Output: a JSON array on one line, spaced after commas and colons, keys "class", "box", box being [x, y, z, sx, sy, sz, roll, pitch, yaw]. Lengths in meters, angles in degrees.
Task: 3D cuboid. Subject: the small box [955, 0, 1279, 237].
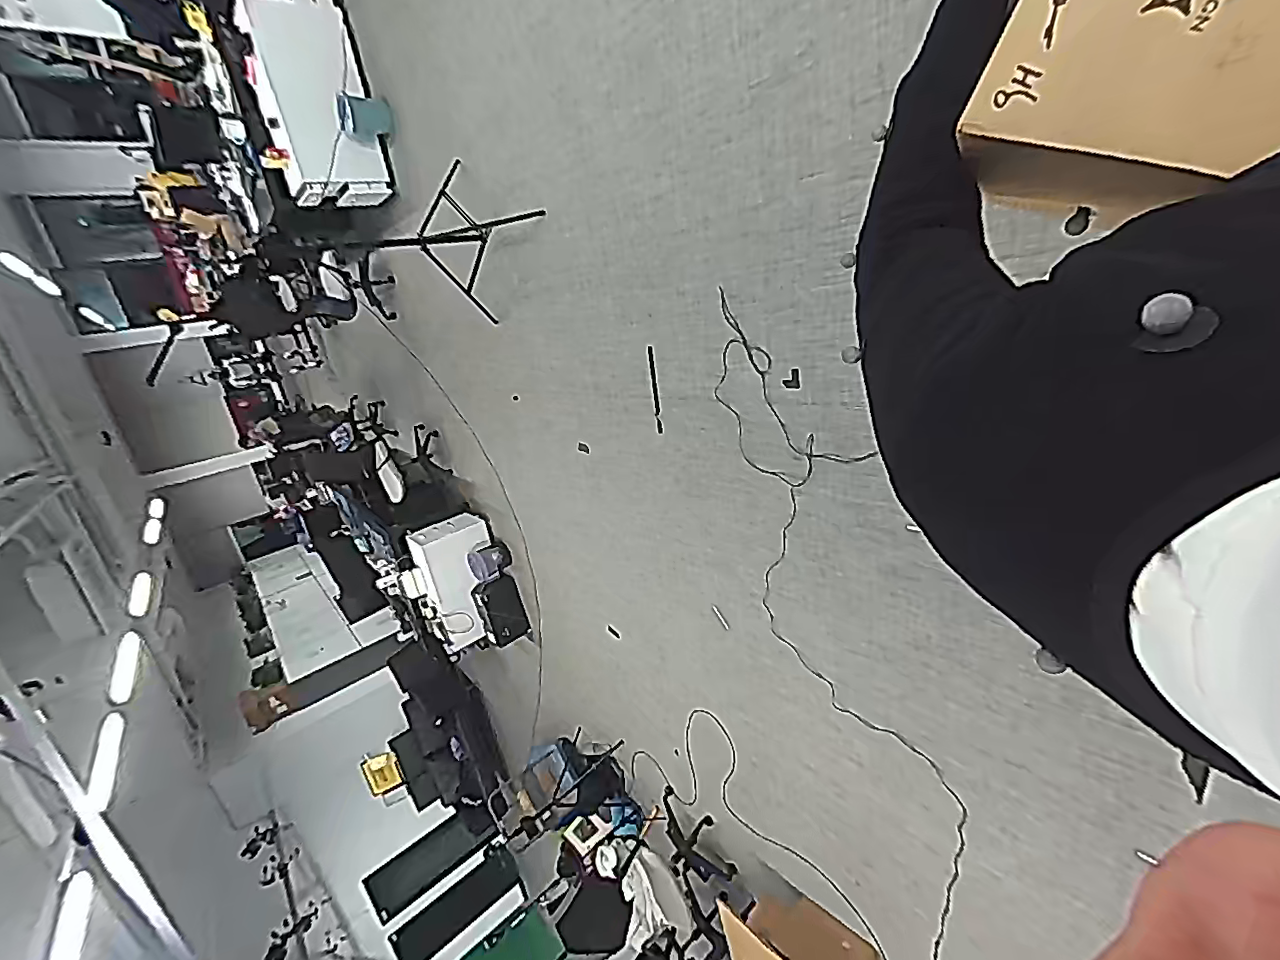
[{"class": "small box", "box": [0.353, -0.282, 0.368, 0.179, 0.176, 0.168, 32, 115, 27]}]
